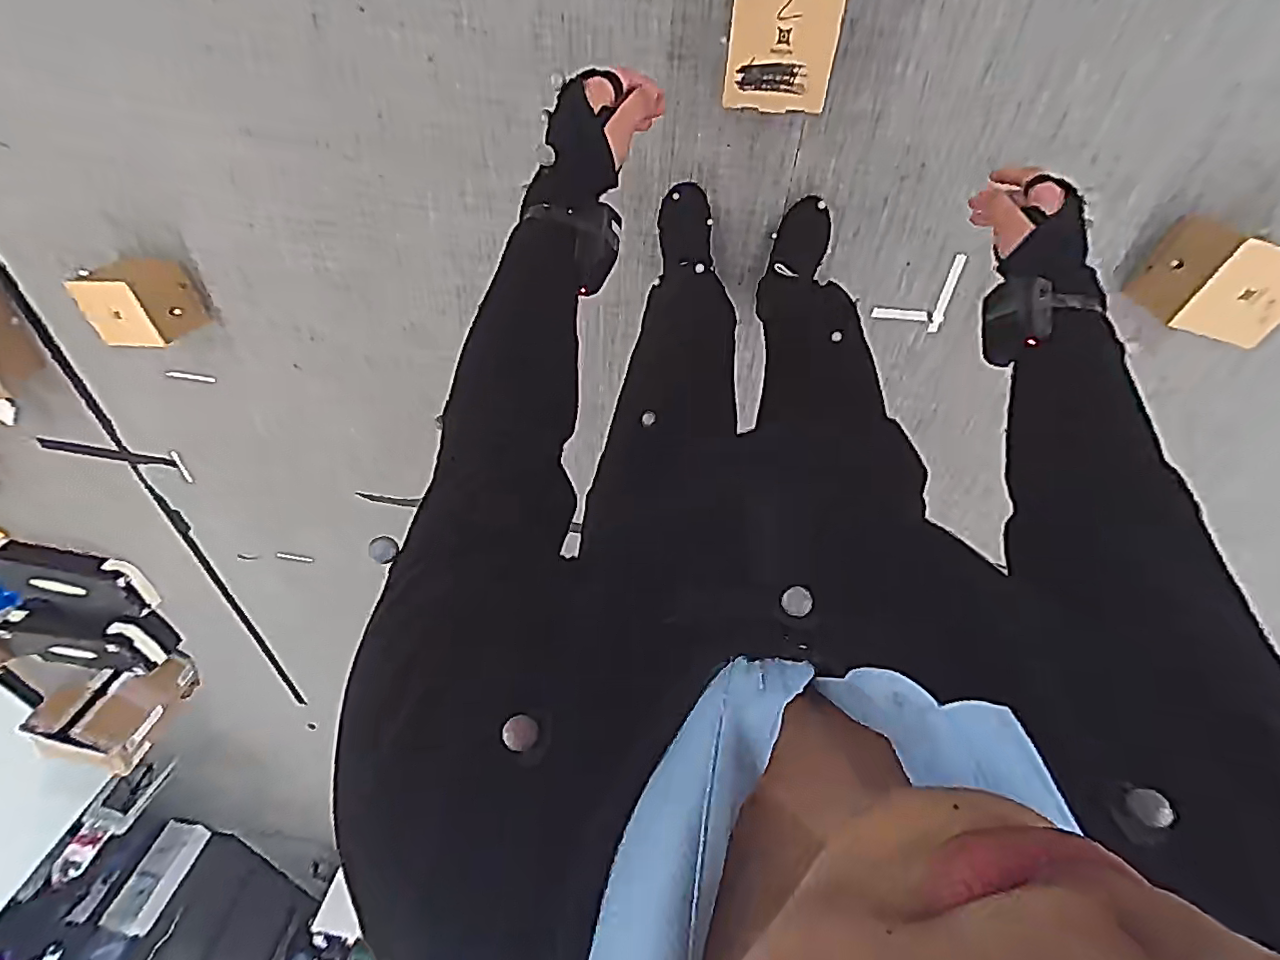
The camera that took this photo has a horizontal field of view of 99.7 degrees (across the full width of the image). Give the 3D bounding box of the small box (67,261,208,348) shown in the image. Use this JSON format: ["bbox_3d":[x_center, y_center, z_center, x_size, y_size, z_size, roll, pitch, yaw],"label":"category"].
[{"bbox_3d":[-1.264,-0.452,1.383,0.179,0.176,0.168,3,130,8],"label":"small box"}]

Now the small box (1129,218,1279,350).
[{"bbox_3d":[1.104,-0.377,1.025,0.179,0.176,0.168,15,131,-3],"label":"small box"}]
